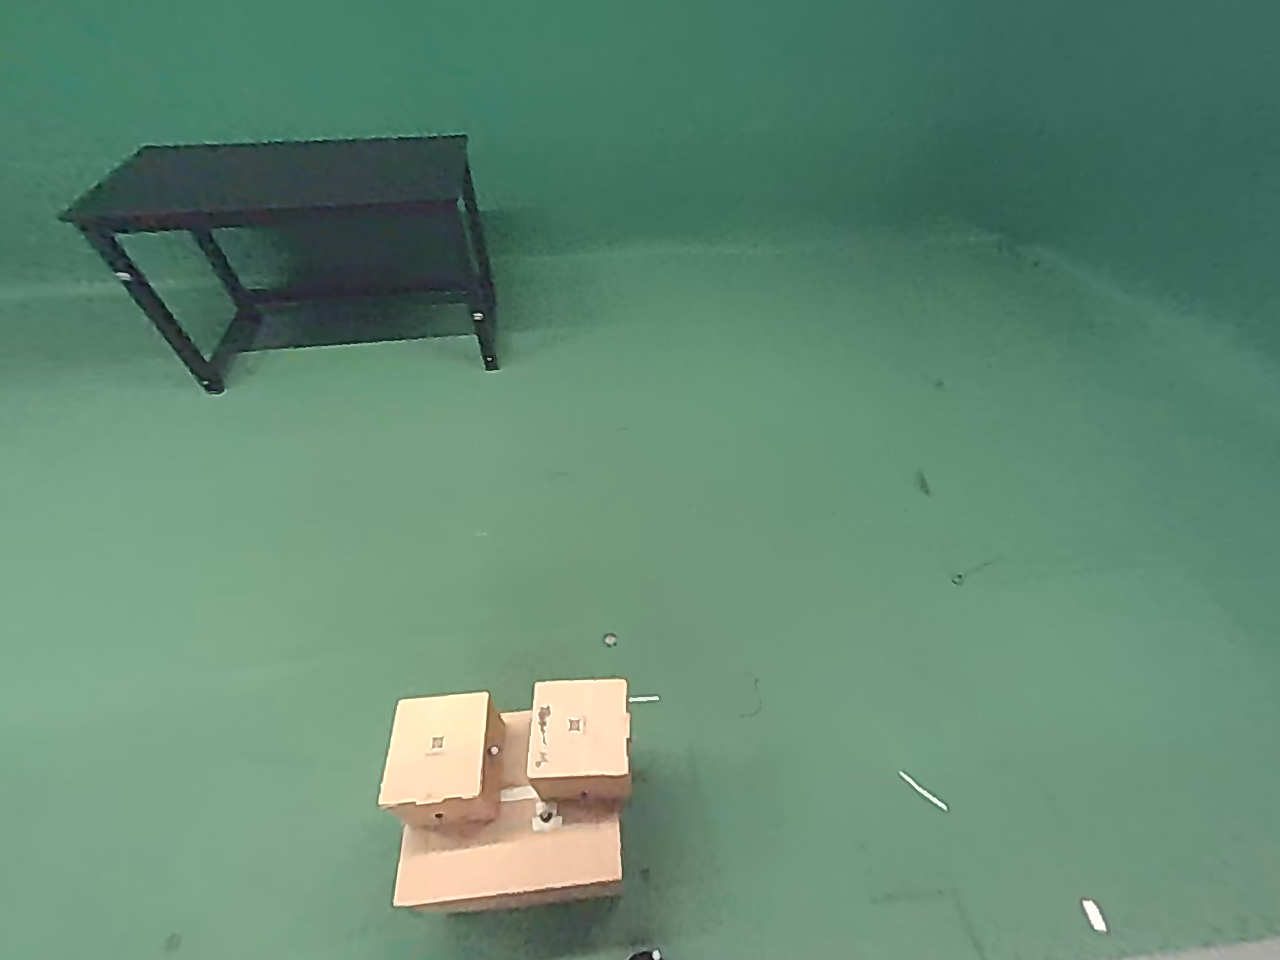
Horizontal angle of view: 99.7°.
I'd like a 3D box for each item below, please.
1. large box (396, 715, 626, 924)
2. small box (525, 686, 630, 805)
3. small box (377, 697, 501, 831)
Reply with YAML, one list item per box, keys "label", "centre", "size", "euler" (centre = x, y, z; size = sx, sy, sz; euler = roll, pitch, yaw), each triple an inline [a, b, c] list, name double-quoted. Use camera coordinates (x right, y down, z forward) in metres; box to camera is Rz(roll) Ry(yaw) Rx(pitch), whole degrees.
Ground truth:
- label: "large box"
  centre: [-0.244, 0.712, 1.148]
  size: [0.408, 0.320, 0.320]
  euler: [-4, 49, -5]
- label: "small box"
  centre: [-0.106, 0.497, 1.011]
  size: [0.179, 0.176, 0.168]
  euler: [-1, 48, -1]
- label: "small box"
  centre: [-0.354, 0.521, 0.992]
  size: [0.168, 0.176, 0.179]
  euler: [-4, 48, -4]
